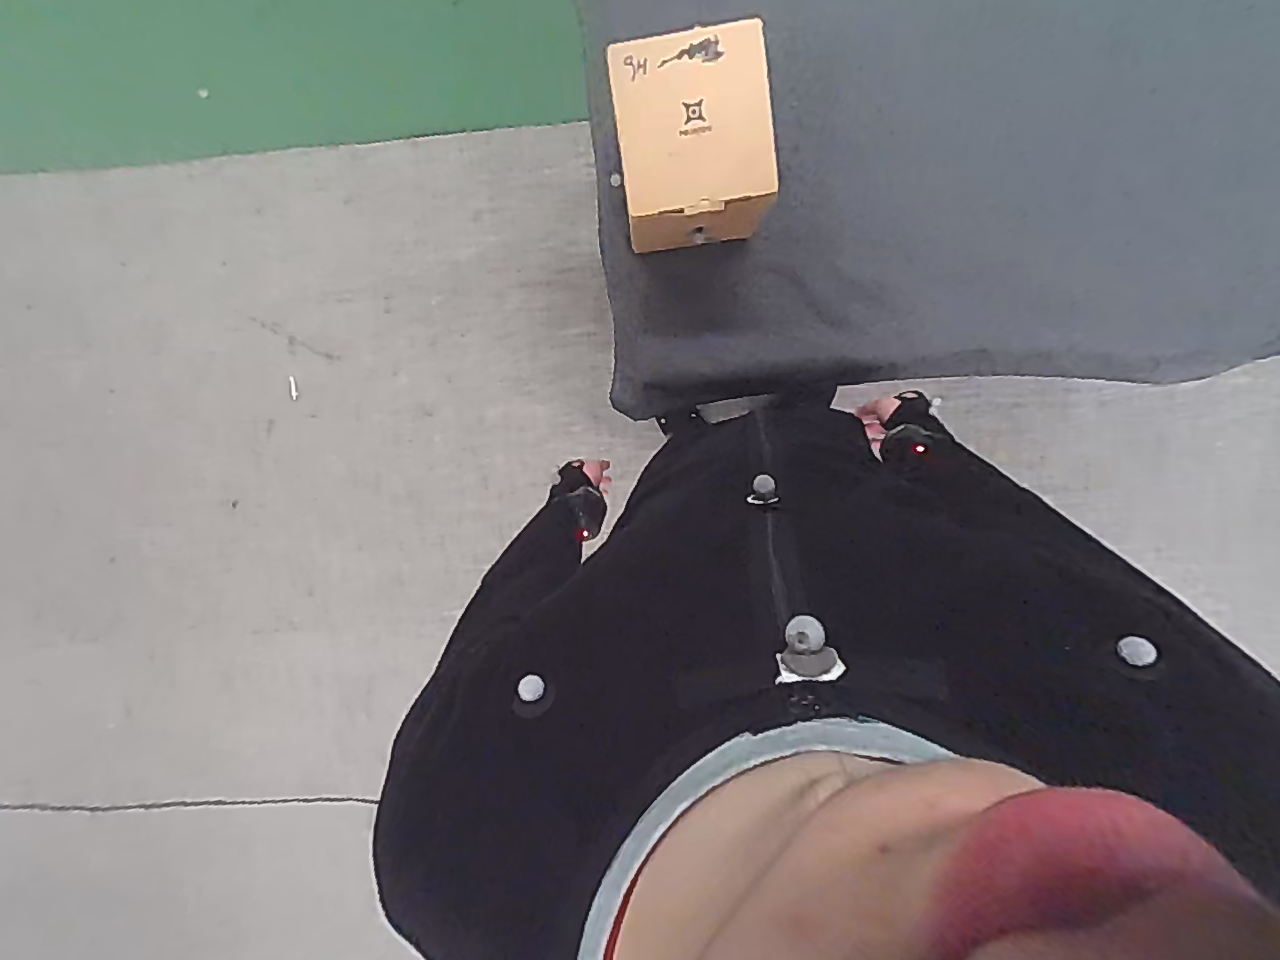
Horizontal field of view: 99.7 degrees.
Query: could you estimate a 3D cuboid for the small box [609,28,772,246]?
[{"bbox_3d":[0.059,-0.400,0.668,0.168,0.176,0.179,-8,101,2],"label":"small box"}]
